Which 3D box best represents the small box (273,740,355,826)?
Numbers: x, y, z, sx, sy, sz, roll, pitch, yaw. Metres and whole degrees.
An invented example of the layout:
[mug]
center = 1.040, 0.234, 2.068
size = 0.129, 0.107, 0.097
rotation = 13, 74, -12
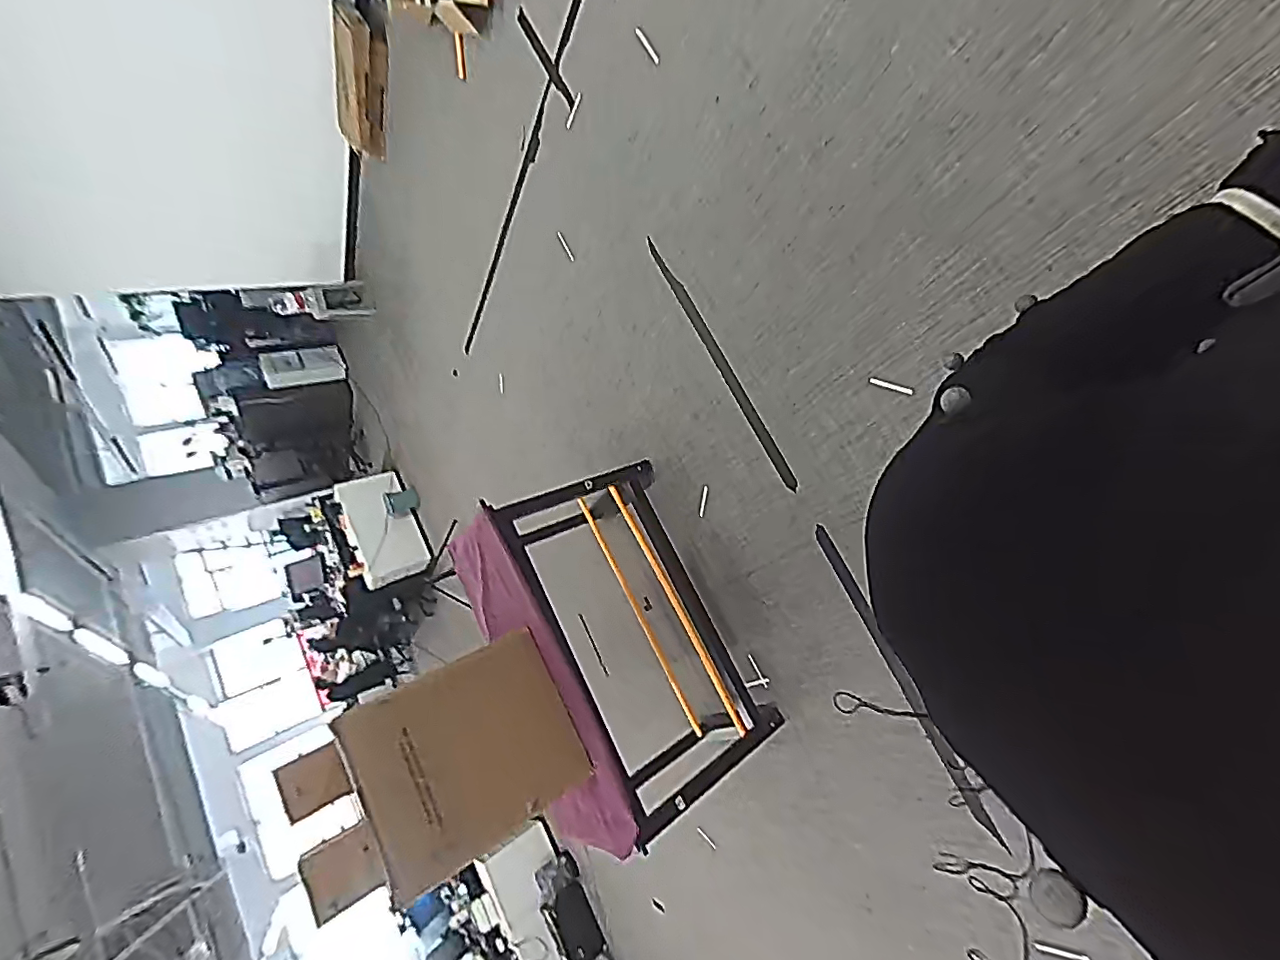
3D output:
[small box]
center = -0.994, 0.917, 1.652
size = 0.179, 0.176, 0.168
rotation = 59, 143, 13
